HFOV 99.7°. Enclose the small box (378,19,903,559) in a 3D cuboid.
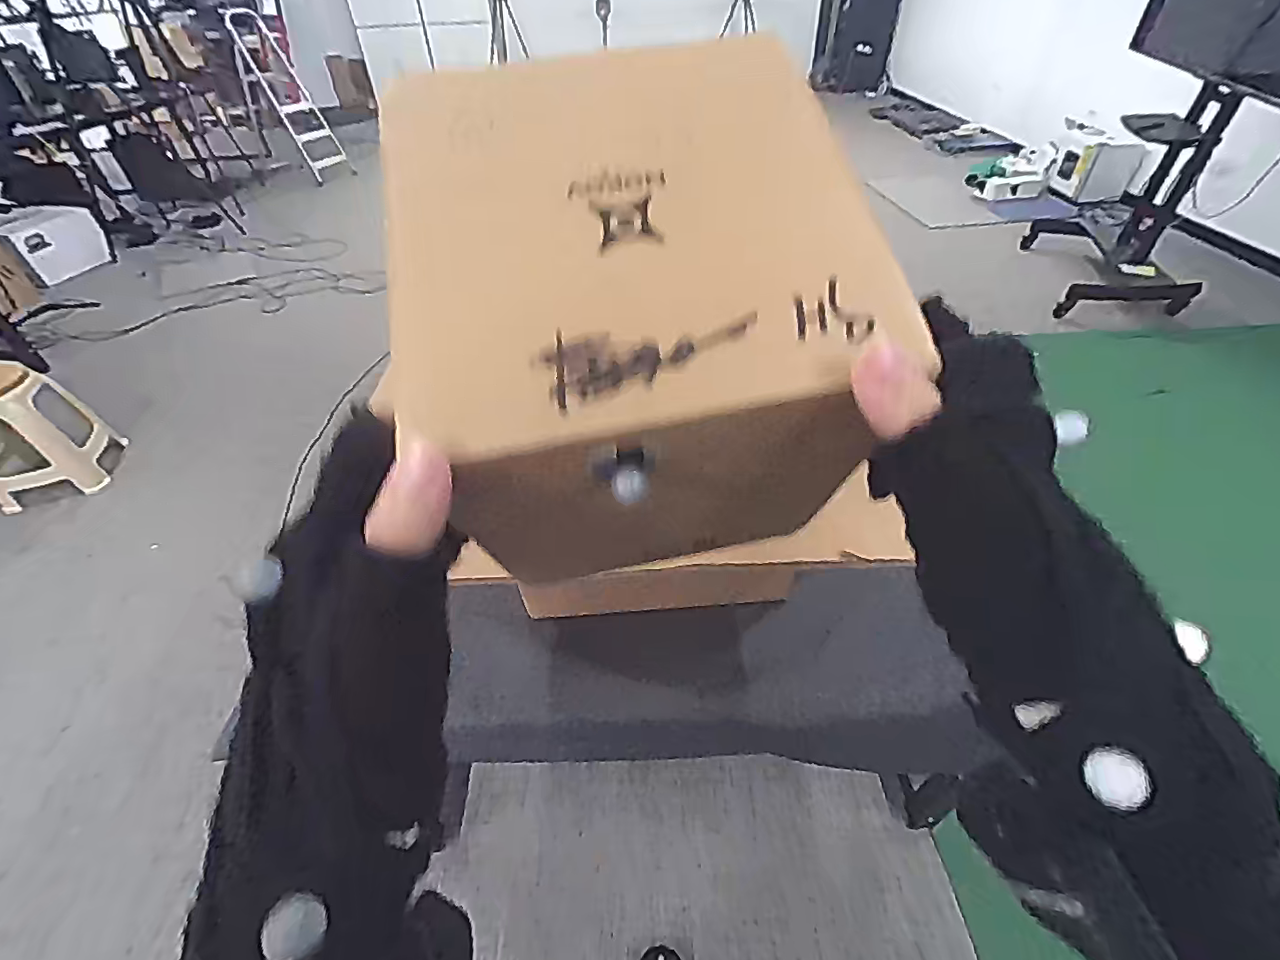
[{"bbox_3d":[-0.011,-0.077,0.271,0.168,0.176,0.179,-11,68,-3],"label":"small box"}]
